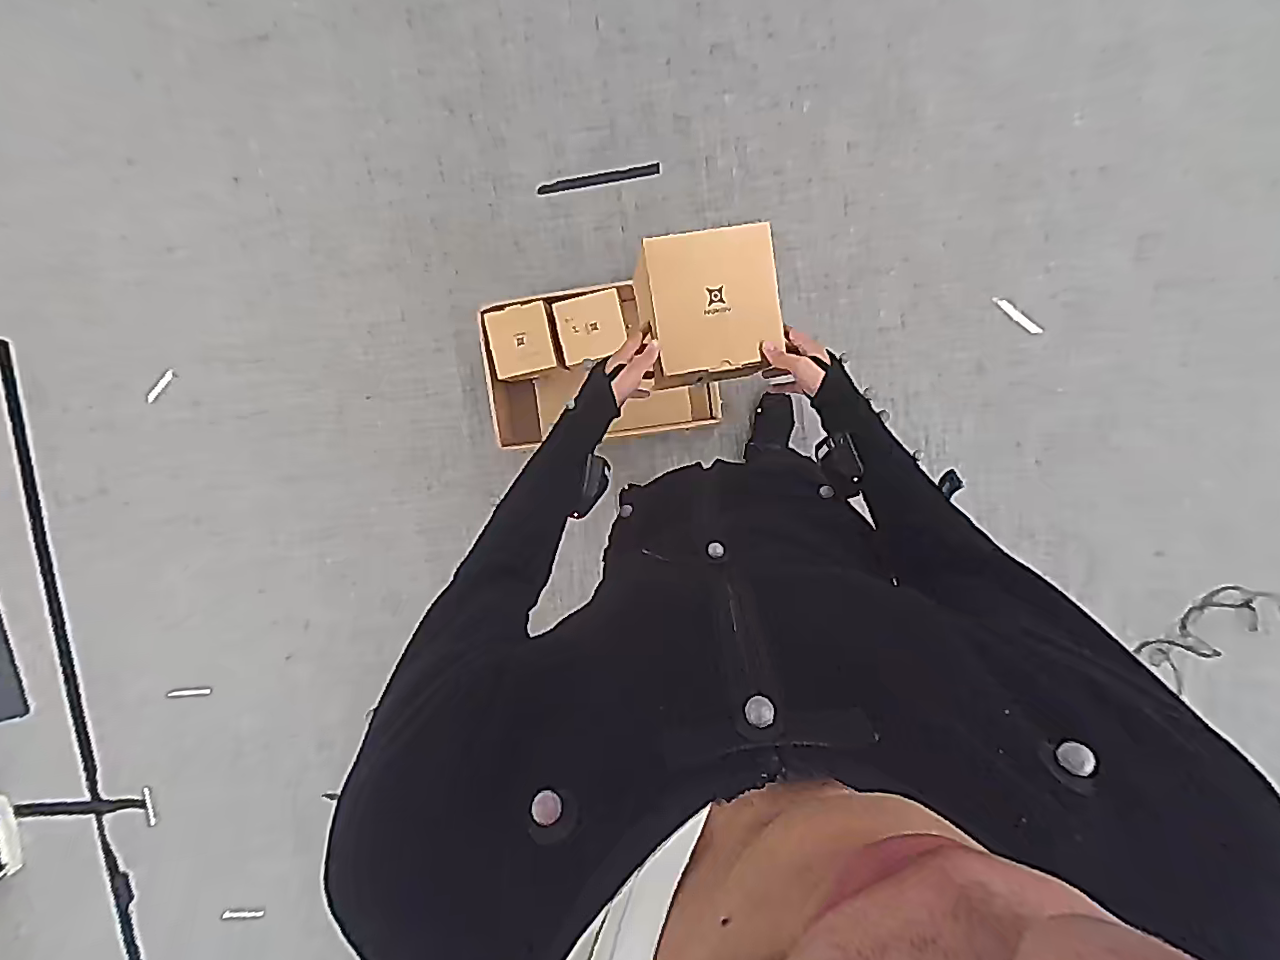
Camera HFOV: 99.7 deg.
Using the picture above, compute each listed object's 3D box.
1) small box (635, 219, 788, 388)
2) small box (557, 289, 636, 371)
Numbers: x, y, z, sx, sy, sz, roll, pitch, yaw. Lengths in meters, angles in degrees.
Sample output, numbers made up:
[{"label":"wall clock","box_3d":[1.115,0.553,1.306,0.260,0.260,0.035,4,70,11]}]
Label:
[{"label":"small box","box_3d":[0.089,-0.233,0.753,0.168,0.176,0.179,-10,96,-3]},{"label":"small box","box_3d":[-0.111,-0.403,1.476,0.179,0.176,0.168,-12,95,5]}]
